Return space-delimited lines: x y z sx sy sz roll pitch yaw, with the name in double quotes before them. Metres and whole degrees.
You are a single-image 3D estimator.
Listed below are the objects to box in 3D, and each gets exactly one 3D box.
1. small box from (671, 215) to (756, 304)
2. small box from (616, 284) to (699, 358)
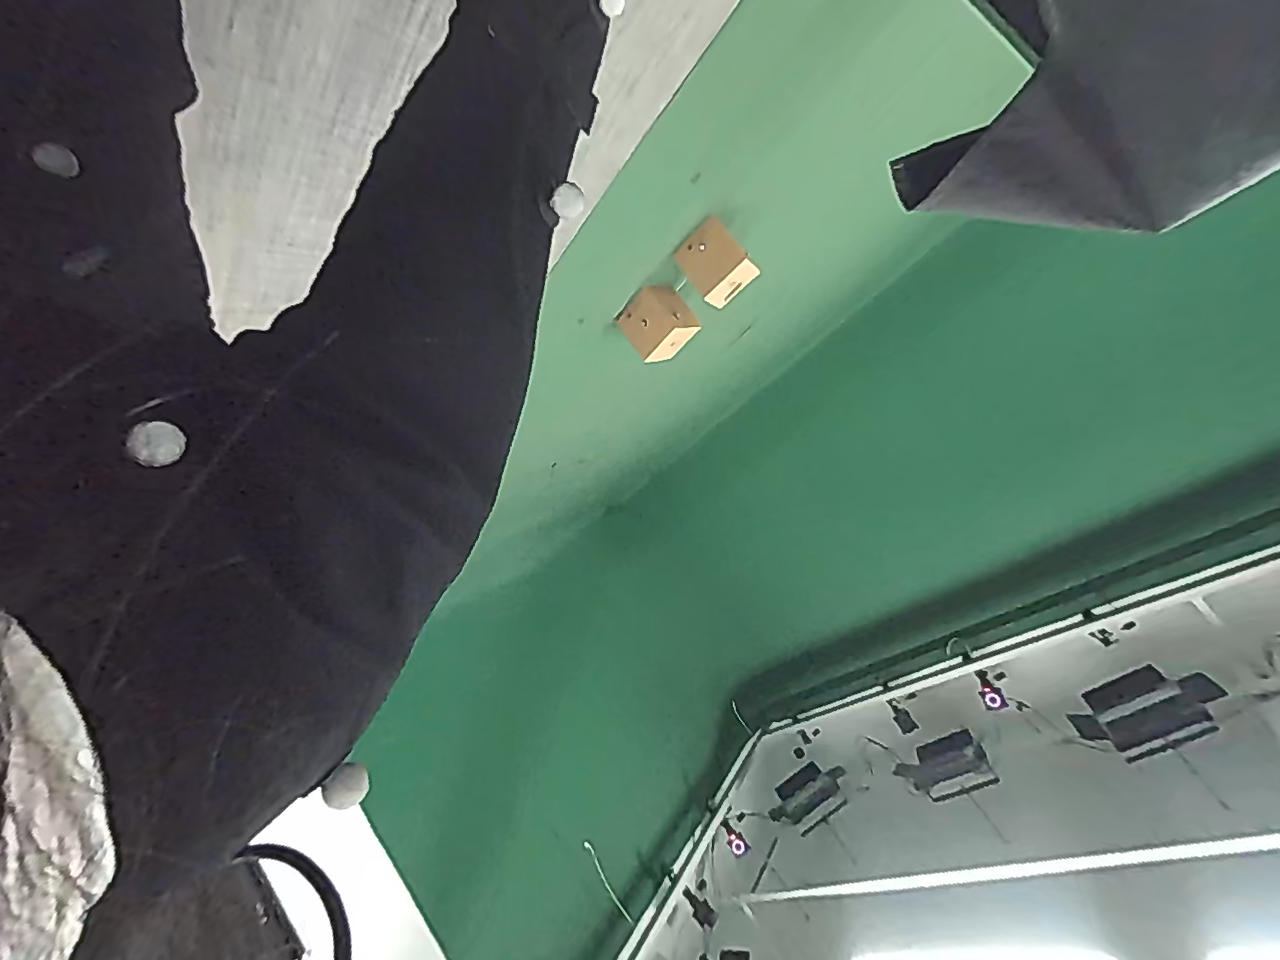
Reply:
"small box" 0.223 -0.666 1.638 0.168 0.176 0.179 -40 170 24
"small box" 0.054 -0.522 1.770 0.168 0.176 0.179 -40 171 36
